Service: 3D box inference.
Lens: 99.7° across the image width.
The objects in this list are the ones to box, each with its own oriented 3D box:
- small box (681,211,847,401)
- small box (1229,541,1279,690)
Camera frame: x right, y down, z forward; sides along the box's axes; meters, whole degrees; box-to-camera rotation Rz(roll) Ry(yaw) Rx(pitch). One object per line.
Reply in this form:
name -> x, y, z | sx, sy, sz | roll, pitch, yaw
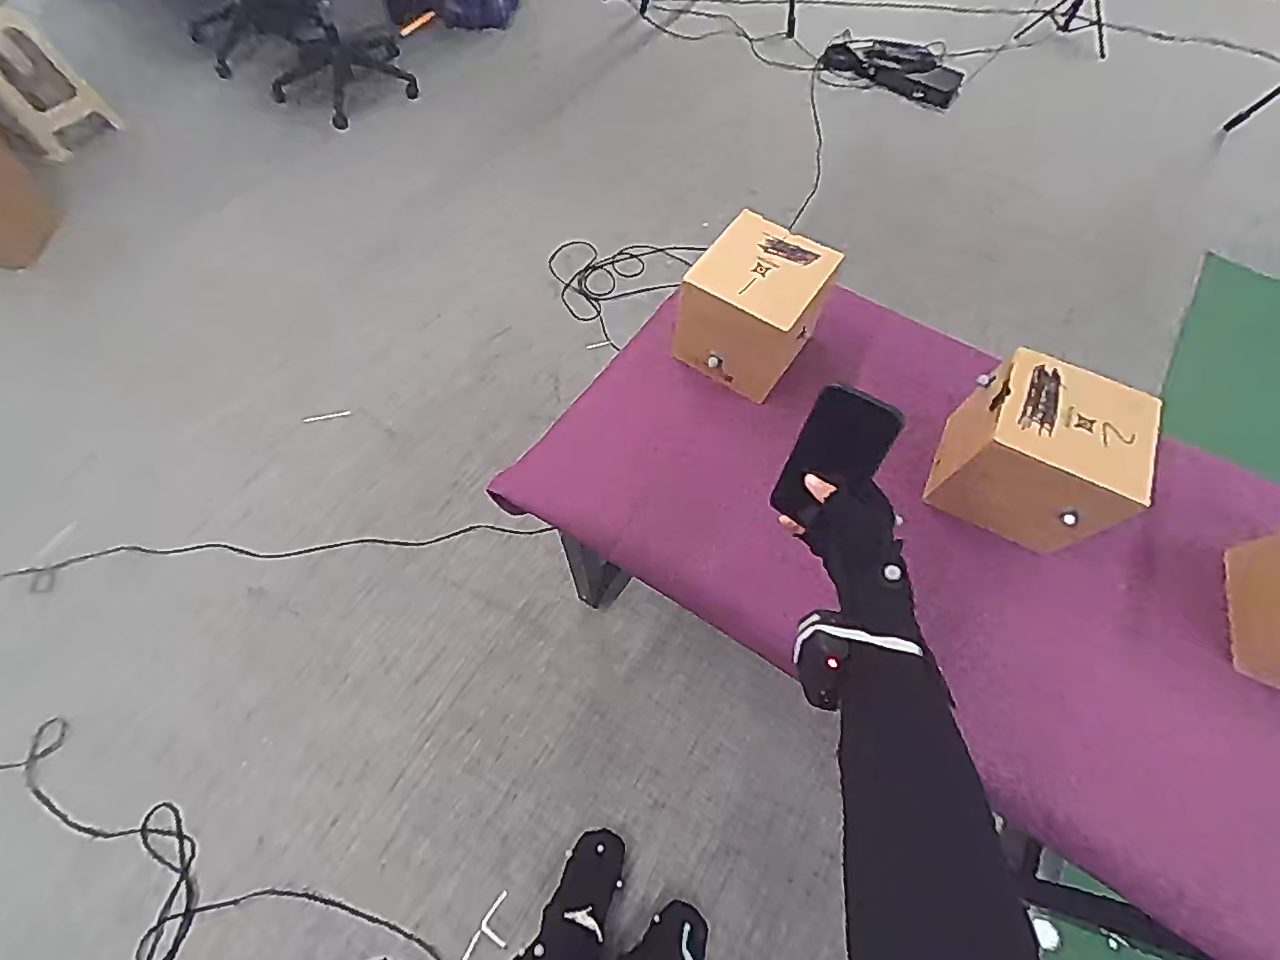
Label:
small box -> 0.174, -0.256, 0.814 | 0.168, 0.176, 0.179 | 33, 68, 14
small box -> 0.840, 0.168, 0.616 | 0.168, 0.176, 0.179 | 22, 63, 10
